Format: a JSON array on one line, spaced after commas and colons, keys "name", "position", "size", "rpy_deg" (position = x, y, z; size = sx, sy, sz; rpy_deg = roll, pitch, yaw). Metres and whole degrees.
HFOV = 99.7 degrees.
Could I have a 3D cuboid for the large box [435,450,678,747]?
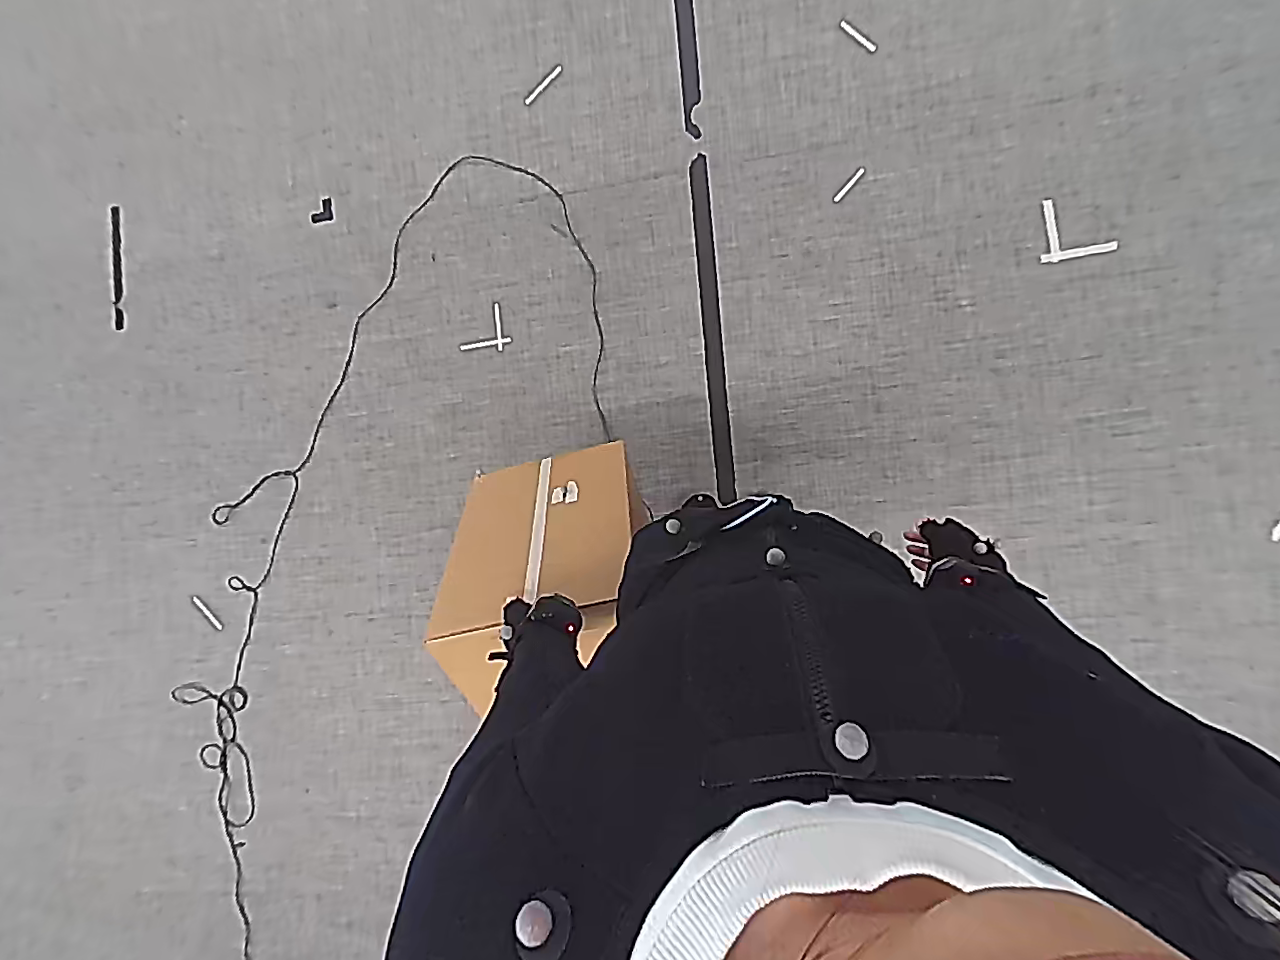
[{"name": "large box", "position": [-0.130, 0.204, 1.005], "size": [0.320, 0.408, 0.320], "rpy_deg": [-12, 125, 4]}]
